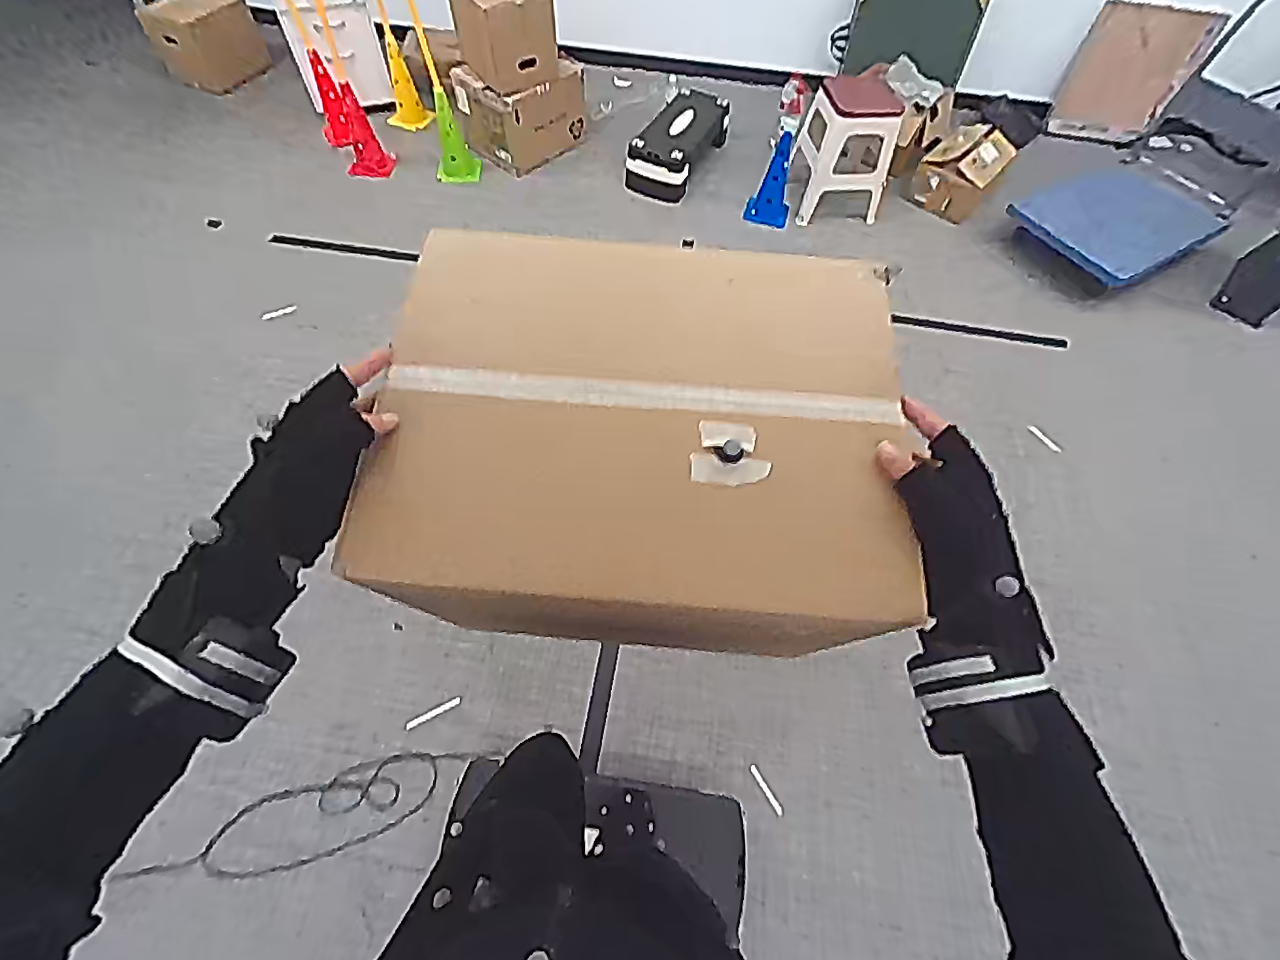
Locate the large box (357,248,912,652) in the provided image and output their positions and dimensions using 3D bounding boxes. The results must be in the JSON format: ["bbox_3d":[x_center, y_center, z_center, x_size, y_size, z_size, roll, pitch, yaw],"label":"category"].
[{"bbox_3d":[0.000,-0.003,0.575,0.408,0.320,0.320,5,68,0],"label":"large box"}]
